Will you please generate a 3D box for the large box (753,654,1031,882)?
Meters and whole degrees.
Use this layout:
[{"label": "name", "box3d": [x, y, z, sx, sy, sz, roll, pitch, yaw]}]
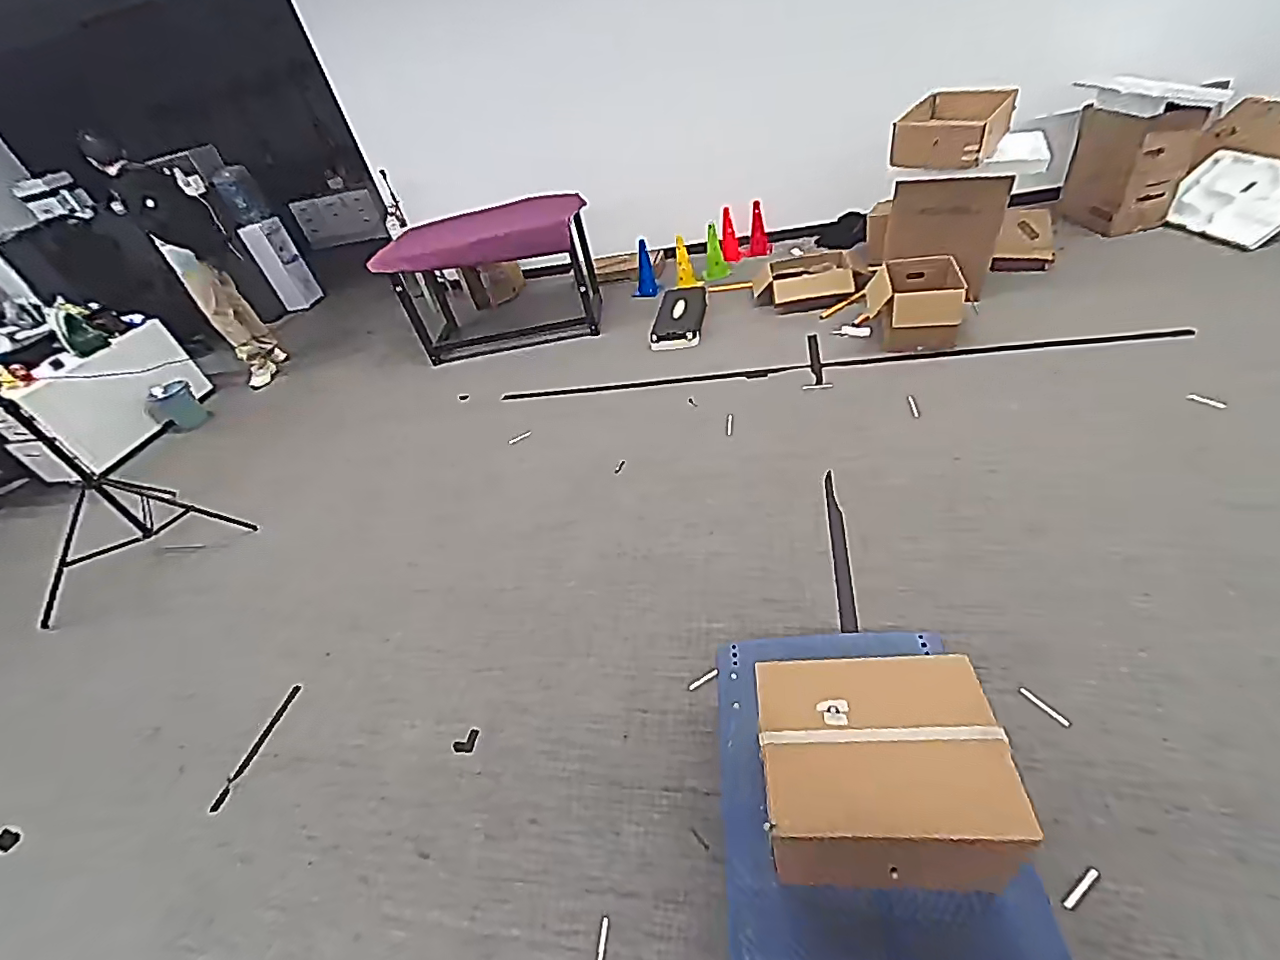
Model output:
[{"label": "large box", "box3d": [0.454, 0.576, 1.071, 0.408, 0.320, 0.320, -7, 39, 11]}]
